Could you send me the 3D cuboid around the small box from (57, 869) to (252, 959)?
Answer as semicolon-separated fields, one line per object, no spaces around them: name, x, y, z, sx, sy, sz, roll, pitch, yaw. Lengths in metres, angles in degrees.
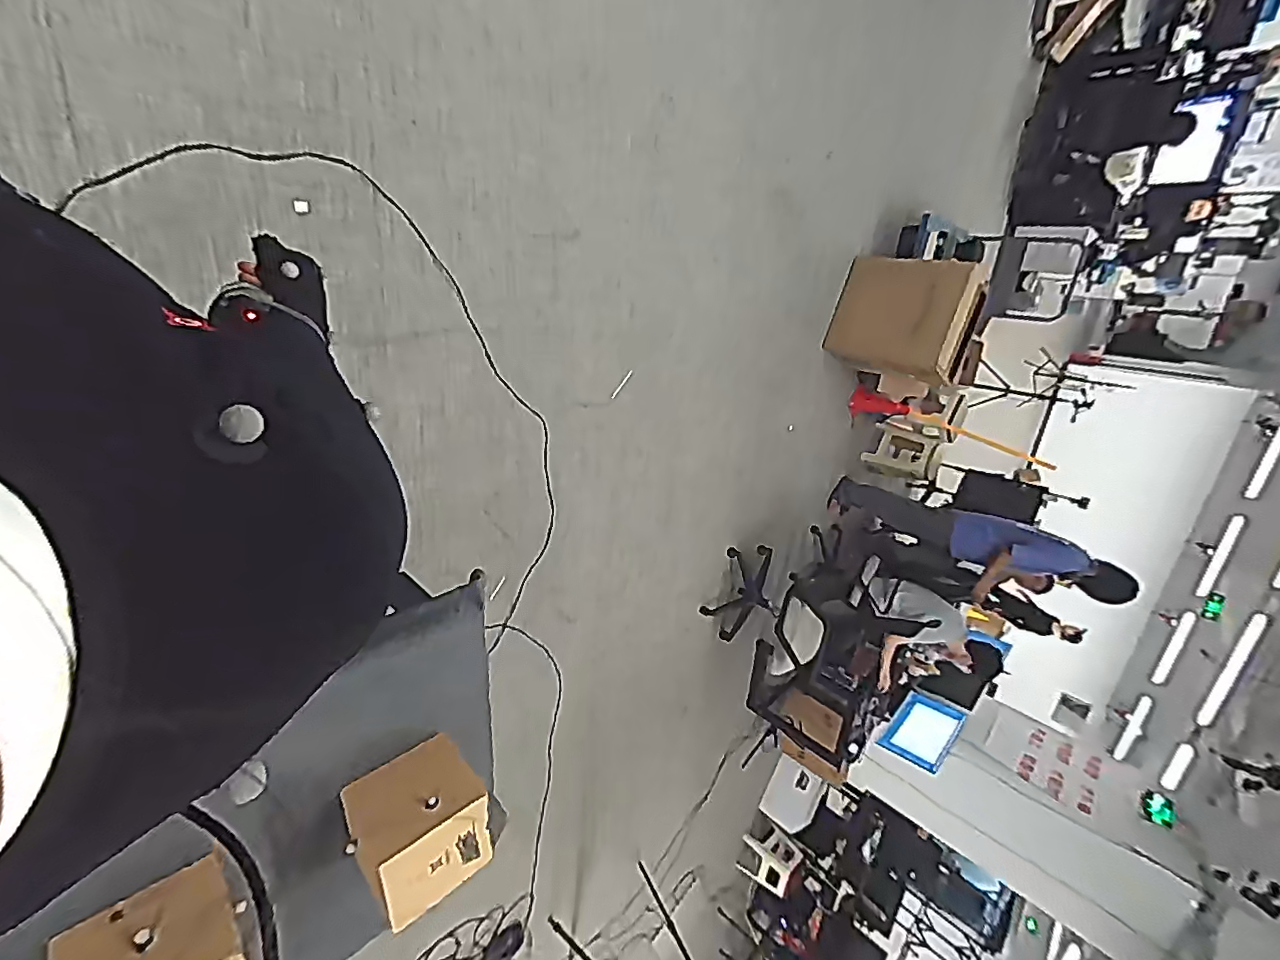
small box;-0.602;0.647;0.687;0.168;0.176;0.179;-16;118;-43

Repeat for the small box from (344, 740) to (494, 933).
small box;-0.370;0.585;0.915;0.179;0.176;0.168;-19;120;-41
